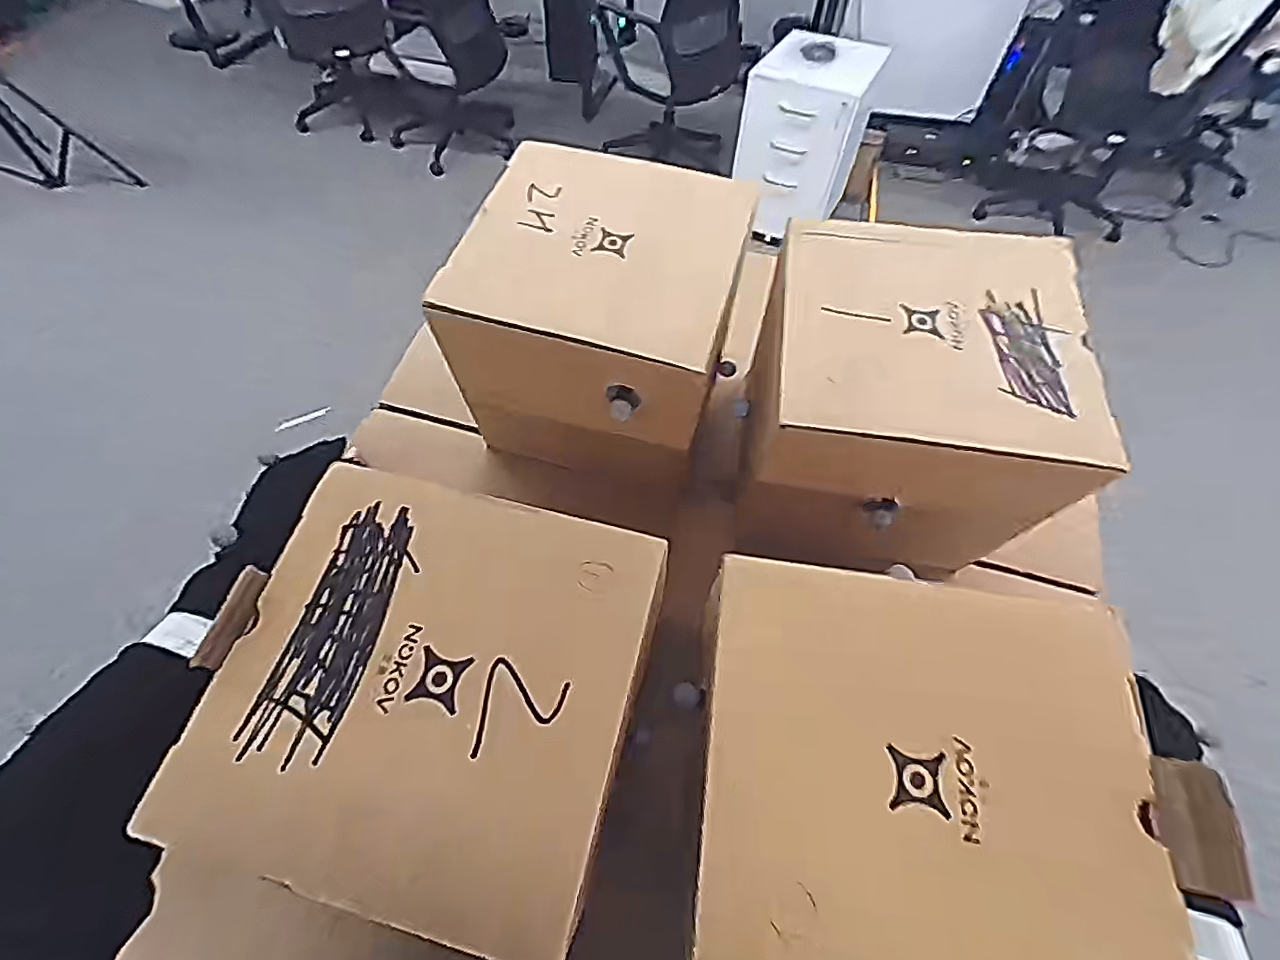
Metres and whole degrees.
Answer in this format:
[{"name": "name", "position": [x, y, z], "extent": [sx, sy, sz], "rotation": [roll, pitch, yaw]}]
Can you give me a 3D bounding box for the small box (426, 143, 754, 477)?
[{"name": "small box", "position": [-0.027, -0.121, 0.427], "extent": [0.179, 0.176, 0.168], "rotation": [16, 64, 8]}]
